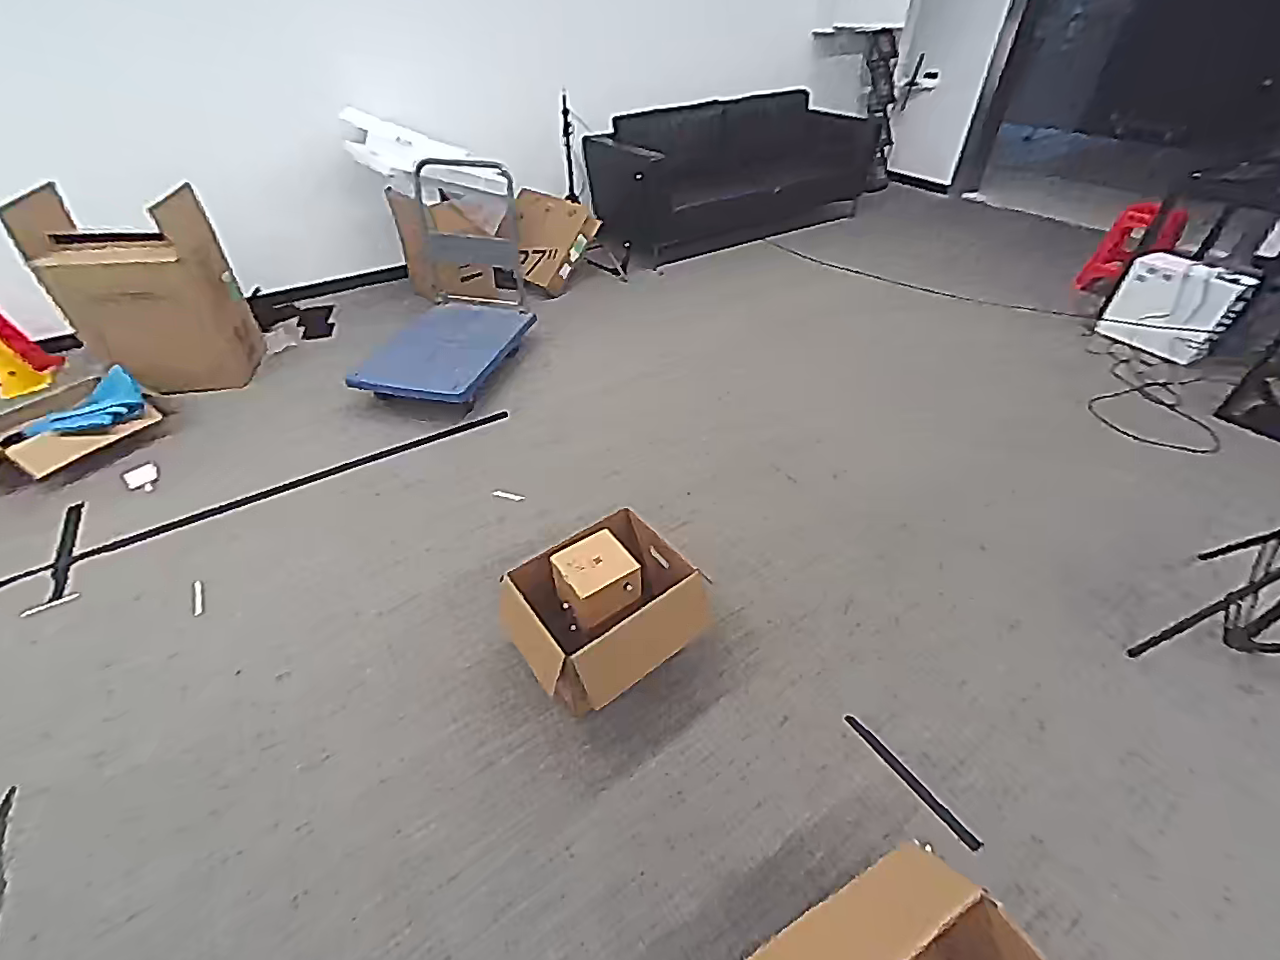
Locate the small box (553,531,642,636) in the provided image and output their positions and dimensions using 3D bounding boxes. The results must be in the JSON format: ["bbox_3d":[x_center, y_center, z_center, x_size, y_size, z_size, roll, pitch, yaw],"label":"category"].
[{"bbox_3d":[-0.111,0.273,1.432,0.179,0.176,0.168,-26,46,-25],"label":"small box"}]
